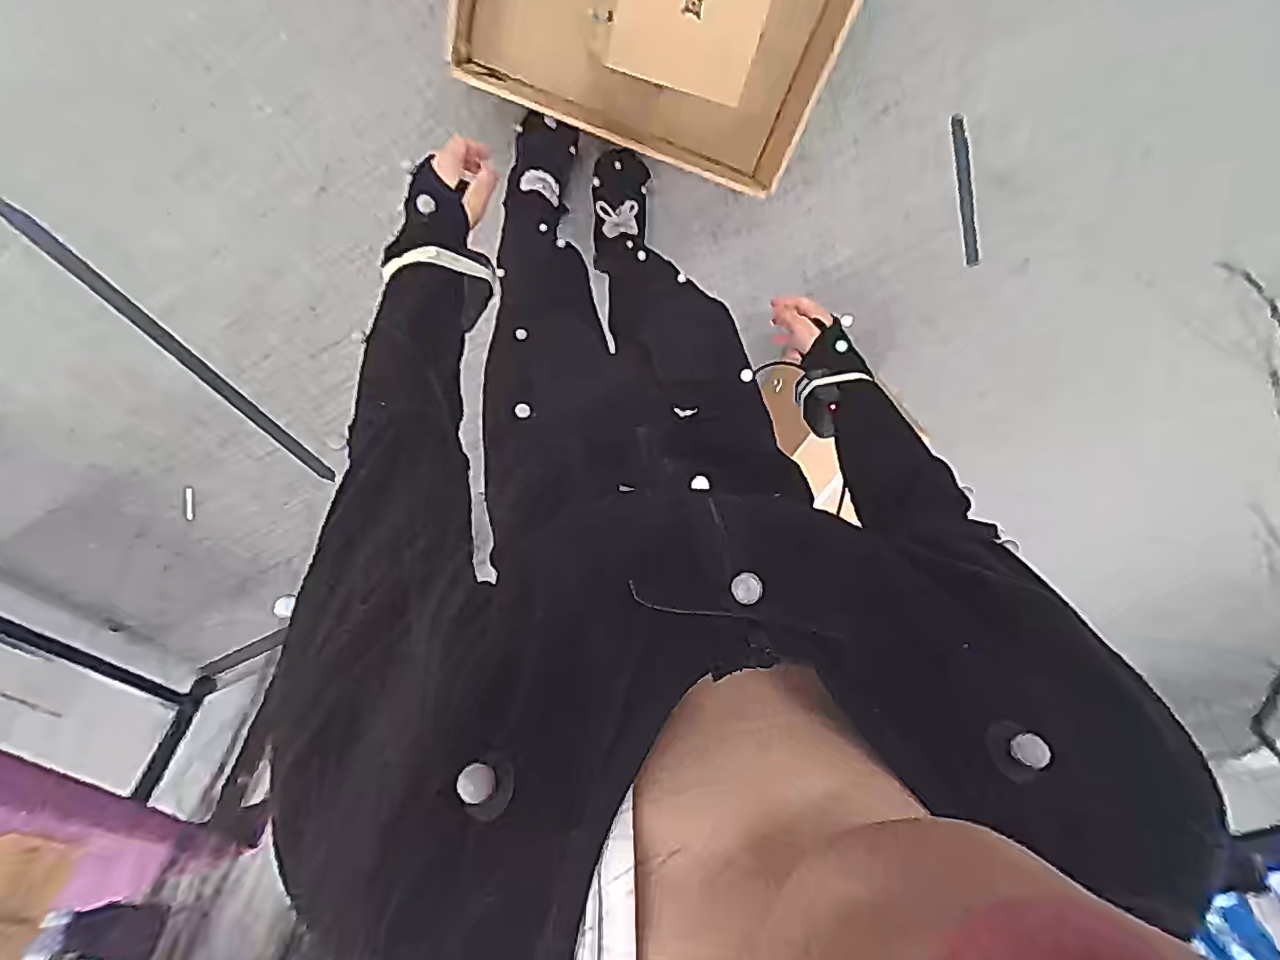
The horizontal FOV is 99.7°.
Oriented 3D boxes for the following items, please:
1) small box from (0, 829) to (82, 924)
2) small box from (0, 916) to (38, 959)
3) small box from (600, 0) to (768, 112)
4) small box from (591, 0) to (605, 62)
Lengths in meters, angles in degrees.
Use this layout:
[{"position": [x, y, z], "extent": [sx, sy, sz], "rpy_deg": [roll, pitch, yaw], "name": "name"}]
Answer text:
[{"position": [-1.511, 0.961, 1.292], "extent": [0.179, 0.176, 0.168], "rpy_deg": [-24, 129, 14], "name": "small box"}, {"position": [-1.478, 1.057, 1.162], "extent": [0.179, 0.176, 0.168], "rpy_deg": [-28, 128, 16], "name": "small box"}, {"position": [0.050, -0.580, 0.652], "extent": [0.168, 0.176, 0.179], "rpy_deg": [6, 129, -16], "name": "small box"}, {"position": [0.027, -0.689, 0.775], "extent": [0.168, 0.176, 0.179], "rpy_deg": [7, 128, -16], "name": "small box"}]
